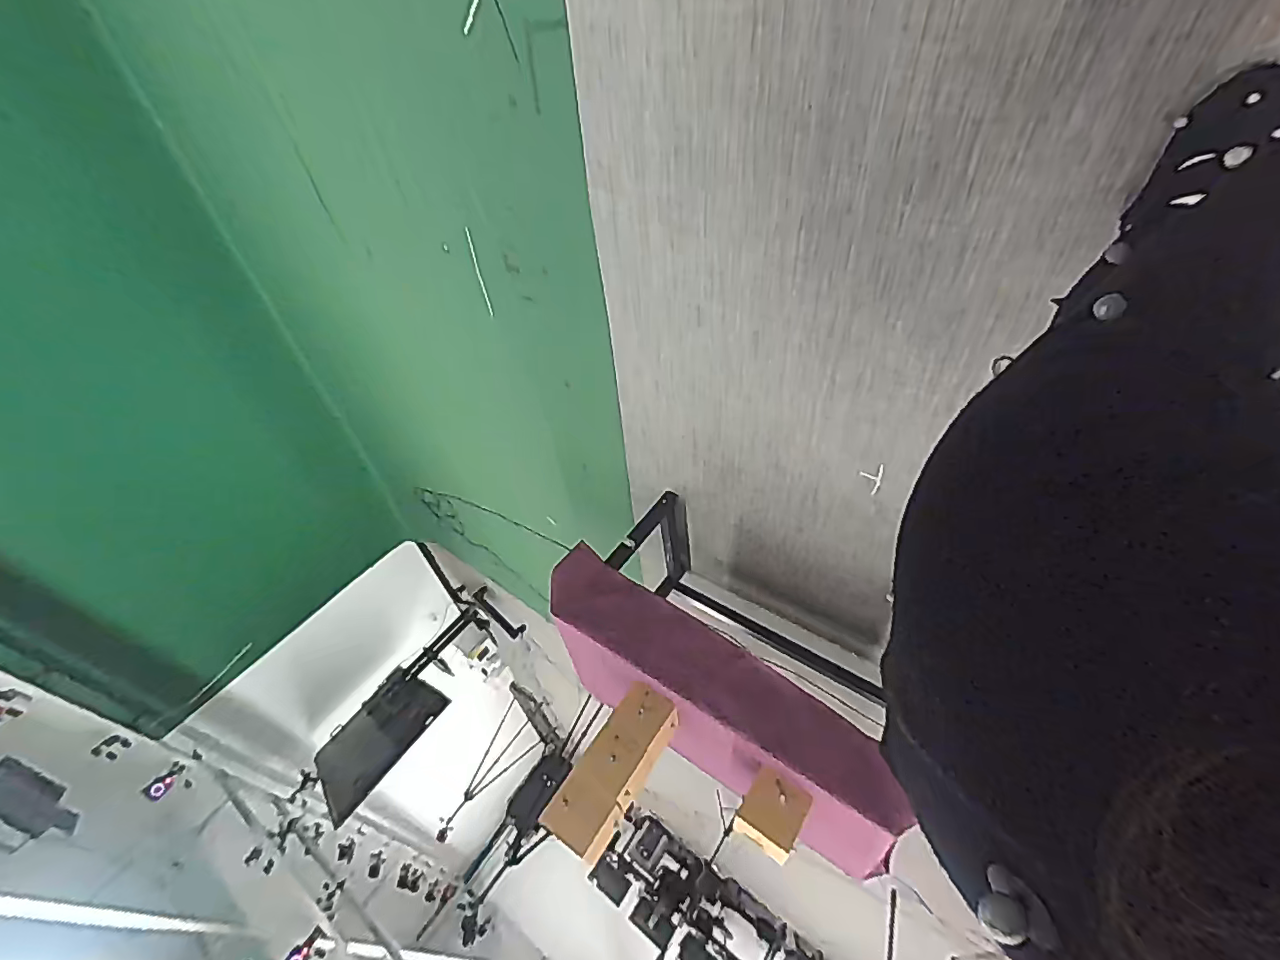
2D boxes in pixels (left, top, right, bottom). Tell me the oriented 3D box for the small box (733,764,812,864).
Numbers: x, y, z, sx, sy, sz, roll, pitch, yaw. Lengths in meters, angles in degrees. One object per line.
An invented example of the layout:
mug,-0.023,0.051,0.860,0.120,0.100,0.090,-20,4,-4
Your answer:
small box,0.387,0.977,1.586,0.168,0.176,0.179,25,143,27

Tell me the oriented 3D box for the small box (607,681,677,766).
small box,0.012,0.809,1.807,0.168,0.176,0.179,25,143,28

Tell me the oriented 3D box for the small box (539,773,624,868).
small box,-0.173,1.020,1.636,0.179,0.176,0.168,23,145,28

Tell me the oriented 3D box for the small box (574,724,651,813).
small box,-0.081,0.913,1.719,0.168,0.176,0.179,24,144,28
